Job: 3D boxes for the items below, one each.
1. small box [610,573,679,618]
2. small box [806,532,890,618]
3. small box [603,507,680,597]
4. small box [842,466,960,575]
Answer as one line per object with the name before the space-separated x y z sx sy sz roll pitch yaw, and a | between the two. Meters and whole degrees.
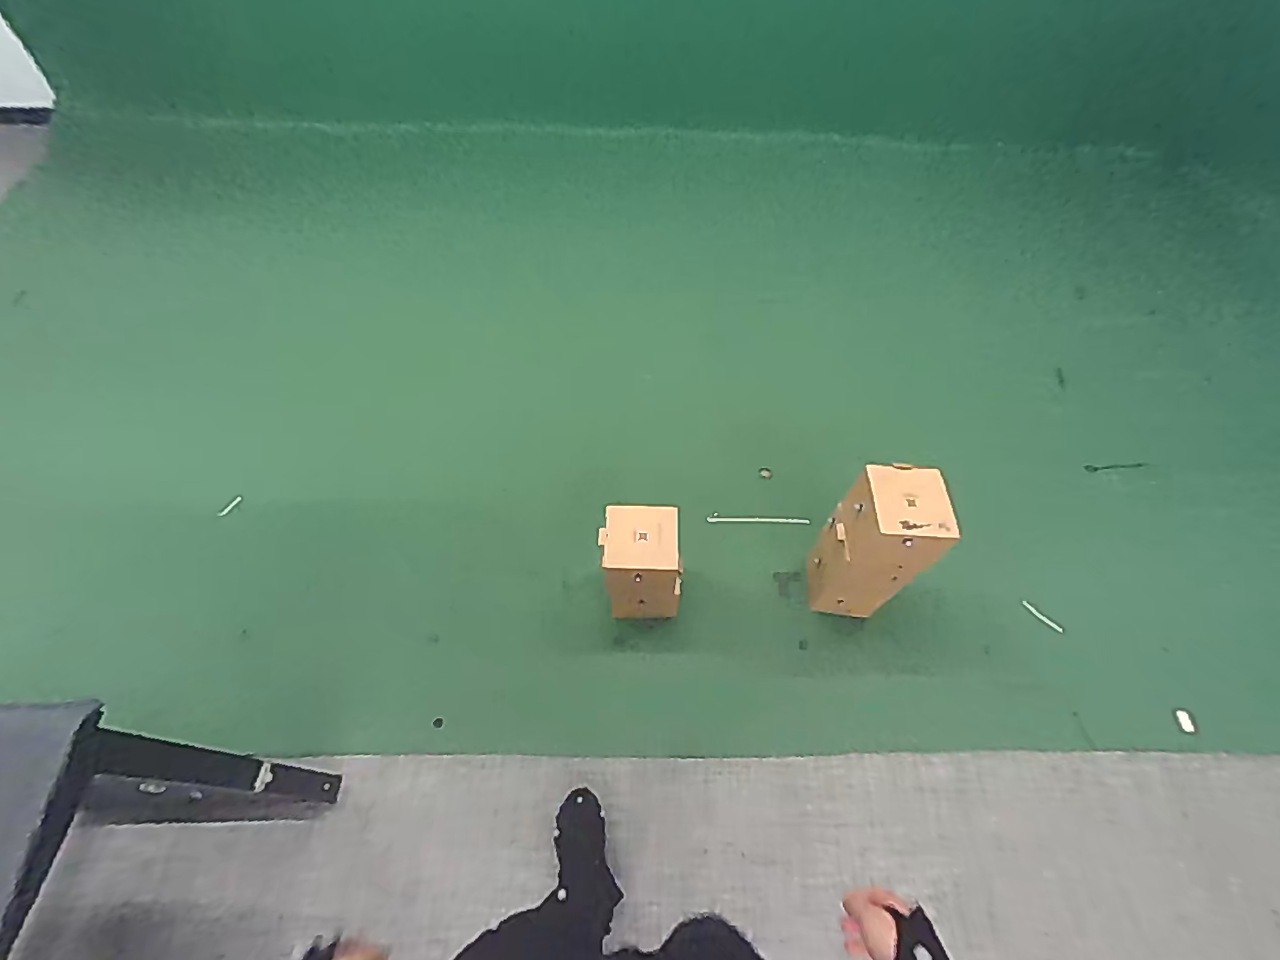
small box | 0.010 0.269 1.460 0.179 0.176 0.168 0 57 -2
small box | 0.564 0.266 1.488 0.168 0.176 0.179 7 56 2
small box | 0.003 0.181 1.324 0.179 0.176 0.168 2 57 -1
small box | 0.569 0.093 1.208 0.168 0.176 0.179 4 56 -1
